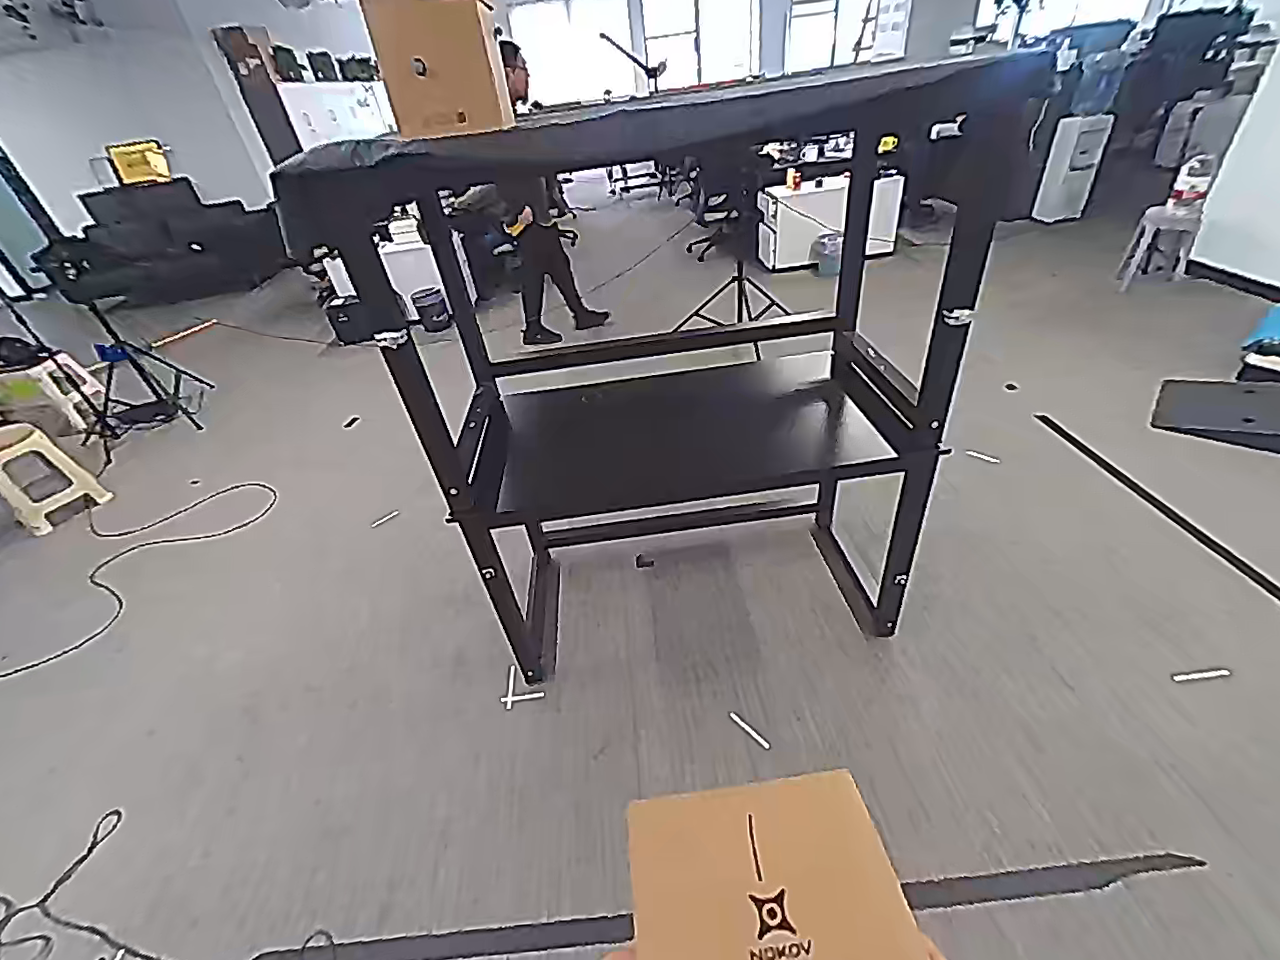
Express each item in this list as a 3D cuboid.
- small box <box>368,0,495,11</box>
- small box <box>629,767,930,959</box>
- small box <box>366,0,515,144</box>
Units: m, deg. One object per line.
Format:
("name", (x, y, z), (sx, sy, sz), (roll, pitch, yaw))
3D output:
("small box", (-0.322, -0.789, 0.790), (0.168, 0.176, 0.179), (-7, 35, 2))
("small box", (0.087, 0.331, 0.359), (0.168, 0.176, 0.179), (-7, 31, -1))
("small box", (-0.309, -0.656, 0.883), (0.168, 0.176, 0.179), (-7, 34, 0))
